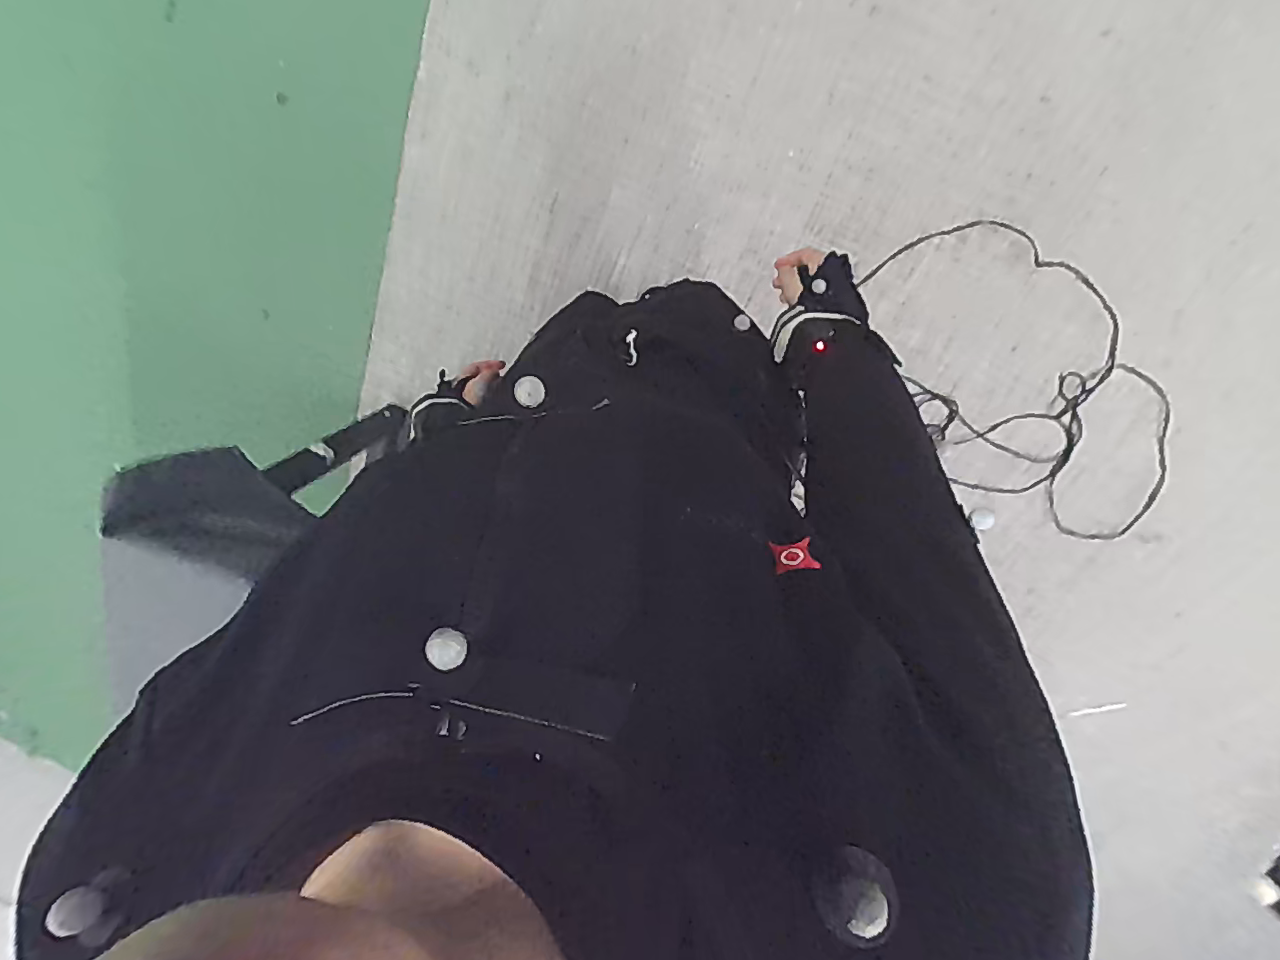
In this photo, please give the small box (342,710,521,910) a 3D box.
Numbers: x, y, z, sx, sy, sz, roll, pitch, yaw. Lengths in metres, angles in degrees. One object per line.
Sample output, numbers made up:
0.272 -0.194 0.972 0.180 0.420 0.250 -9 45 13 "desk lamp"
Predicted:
-0.297 0.475 0.796 0.179 0.176 0.168 24 116 -2 "small box"
